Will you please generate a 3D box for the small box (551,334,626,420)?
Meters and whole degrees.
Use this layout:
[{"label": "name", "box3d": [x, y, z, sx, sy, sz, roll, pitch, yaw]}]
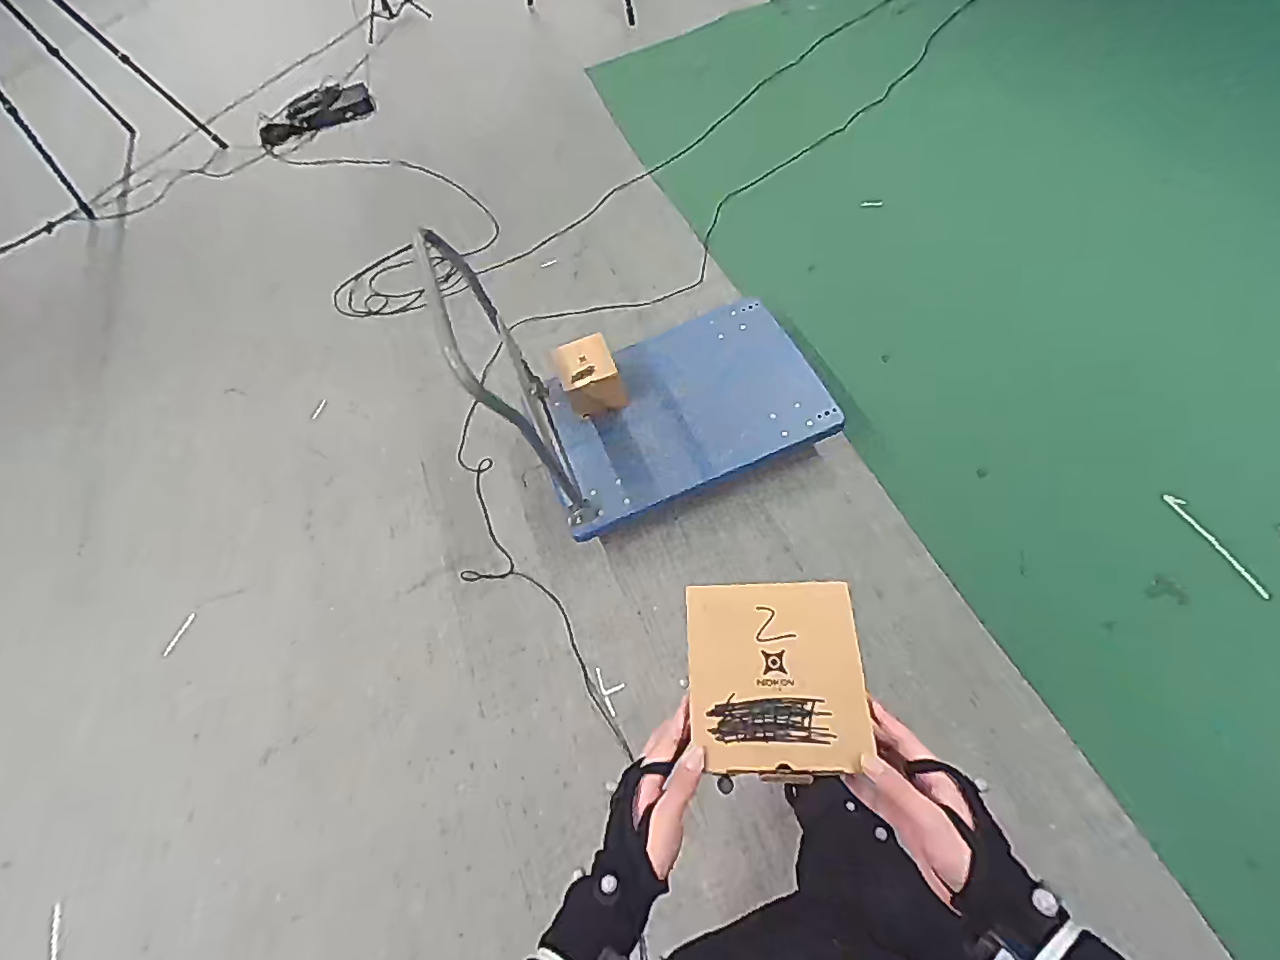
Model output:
[{"label": "small box", "box3d": [-0.151, -0.306, 1.649, 0.168, 0.176, 0.179, -21, 61, -2]}]
